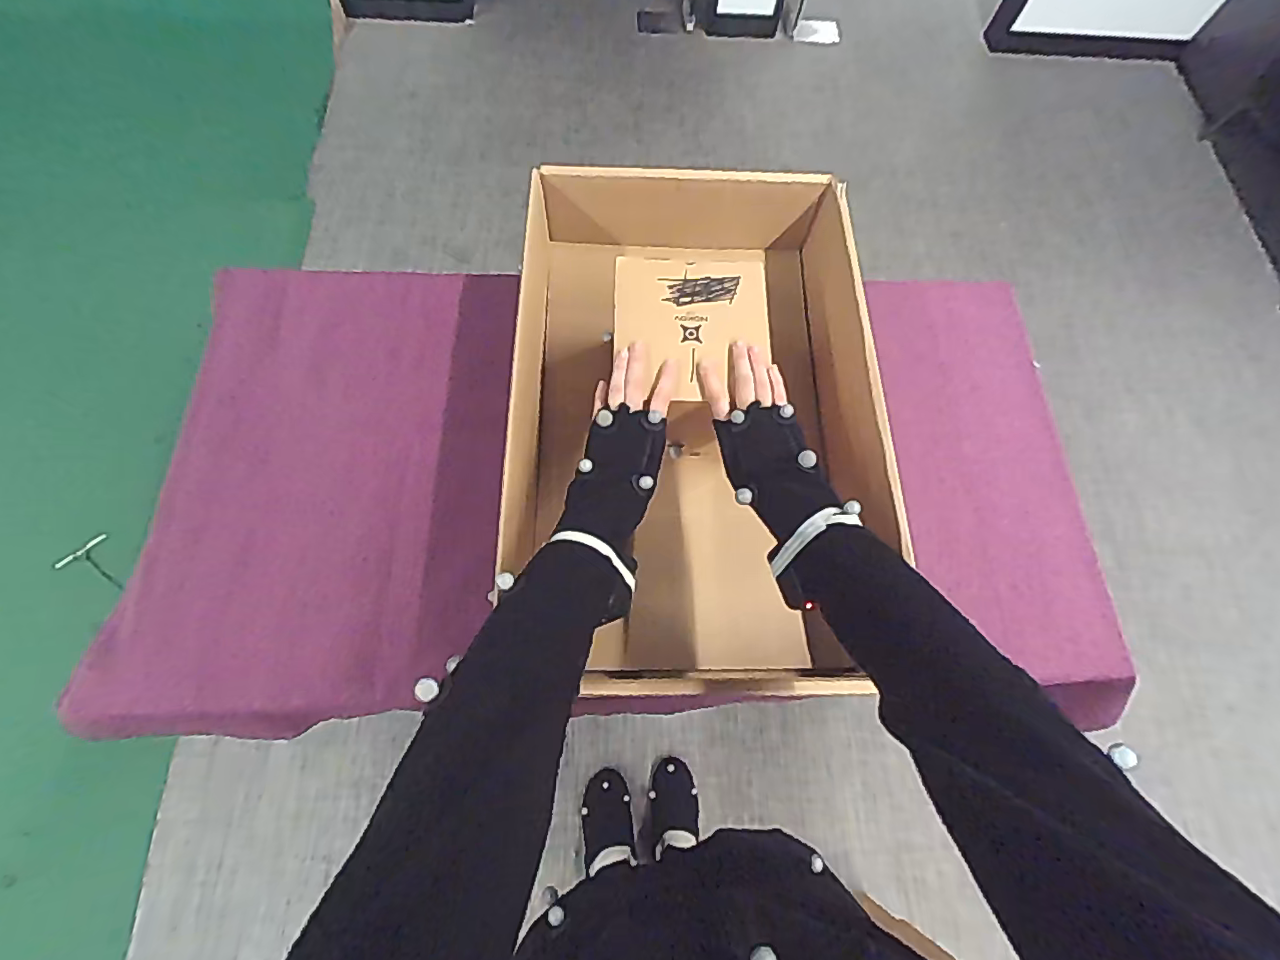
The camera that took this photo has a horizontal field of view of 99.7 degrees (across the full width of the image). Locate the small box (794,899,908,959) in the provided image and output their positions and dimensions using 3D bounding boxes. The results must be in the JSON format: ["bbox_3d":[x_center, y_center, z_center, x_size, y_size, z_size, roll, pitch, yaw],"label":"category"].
[{"bbox_3d":[0.425,0.980,1.087,0.179,0.176,0.168,-5,69,-6],"label":"small box"}]

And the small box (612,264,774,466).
[{"bbox_3d":[0.051,-0.128,0.645,0.168,0.176,0.179,1,72,-2],"label":"small box"}]
